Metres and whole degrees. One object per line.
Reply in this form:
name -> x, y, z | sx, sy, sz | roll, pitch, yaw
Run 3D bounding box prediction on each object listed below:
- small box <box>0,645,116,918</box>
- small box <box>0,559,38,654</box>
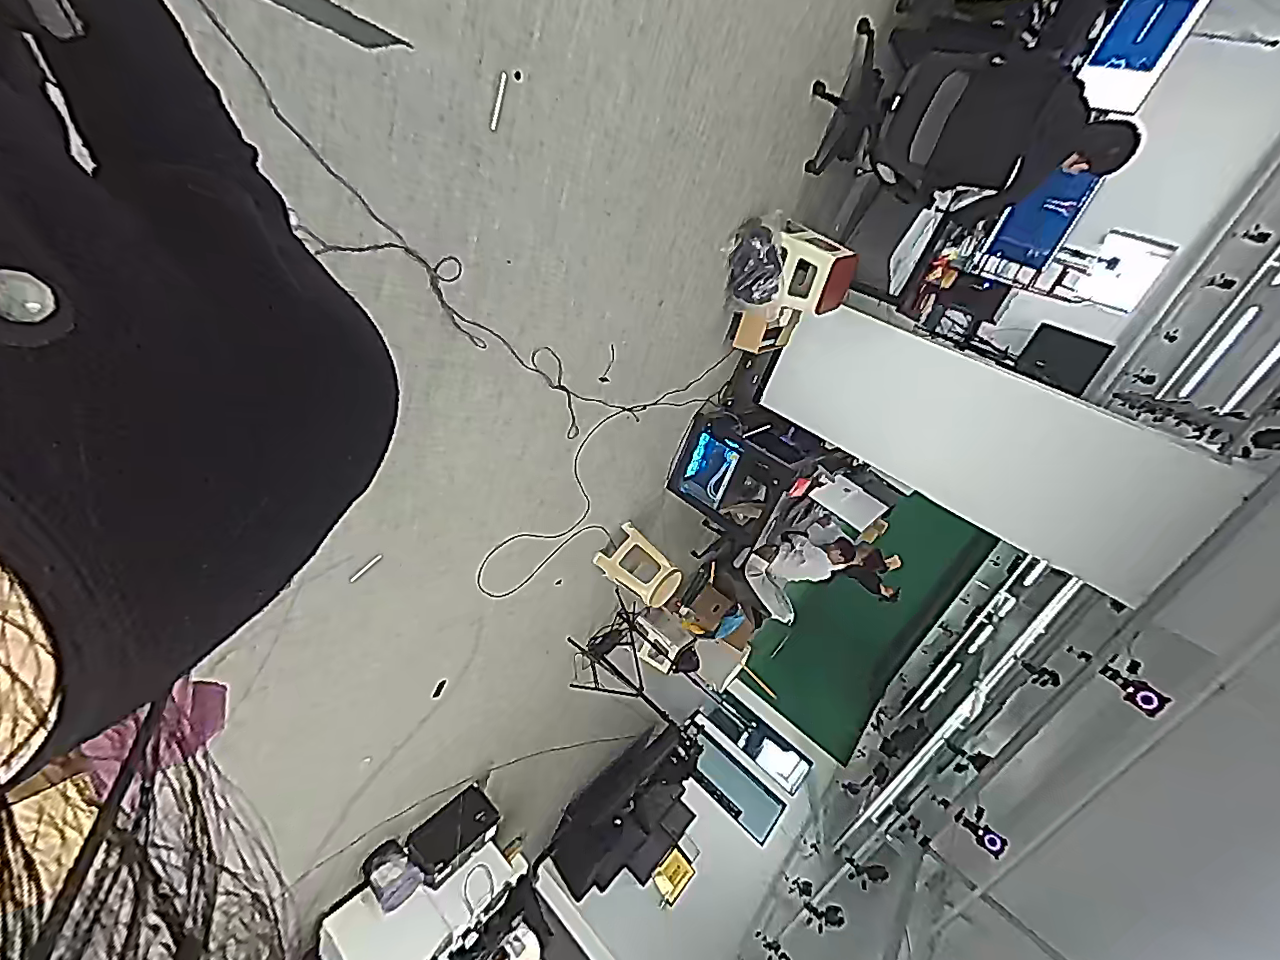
small box -> -0.618, 0.287, 0.481 | 0.179, 0.176, 0.168 | -21, 140, -51
small box -> -0.738, 0.202, 0.550 | 0.168, 0.176, 0.179 | -19, 136, -51
